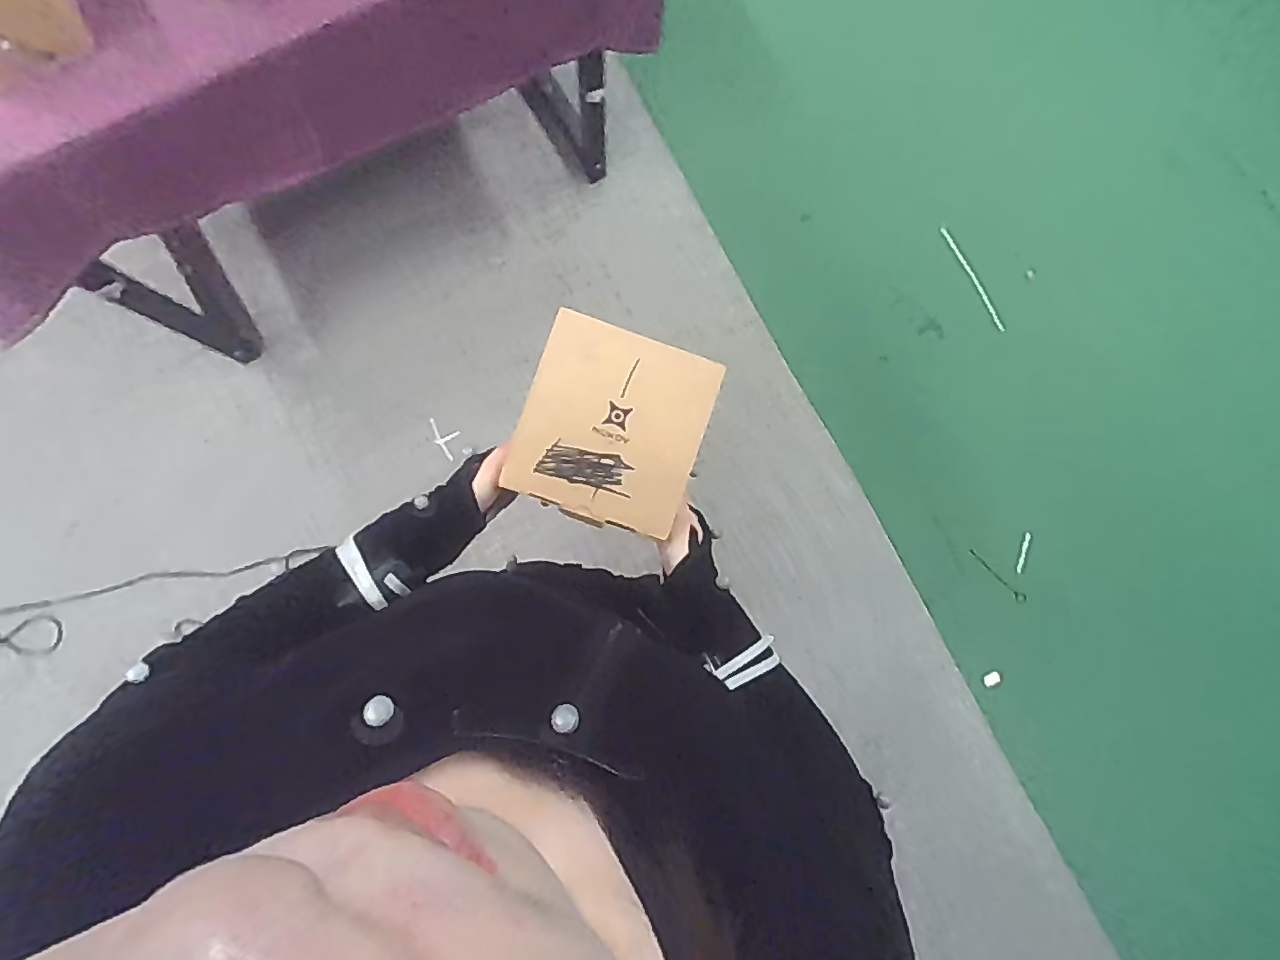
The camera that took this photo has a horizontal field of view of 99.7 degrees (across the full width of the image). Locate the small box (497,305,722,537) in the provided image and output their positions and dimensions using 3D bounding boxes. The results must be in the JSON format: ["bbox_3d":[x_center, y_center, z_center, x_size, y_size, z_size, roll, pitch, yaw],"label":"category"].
[{"bbox_3d":[-0.030,-0.051,0.573,0.168,0.176,0.179,19,86,-2],"label":"small box"}]
